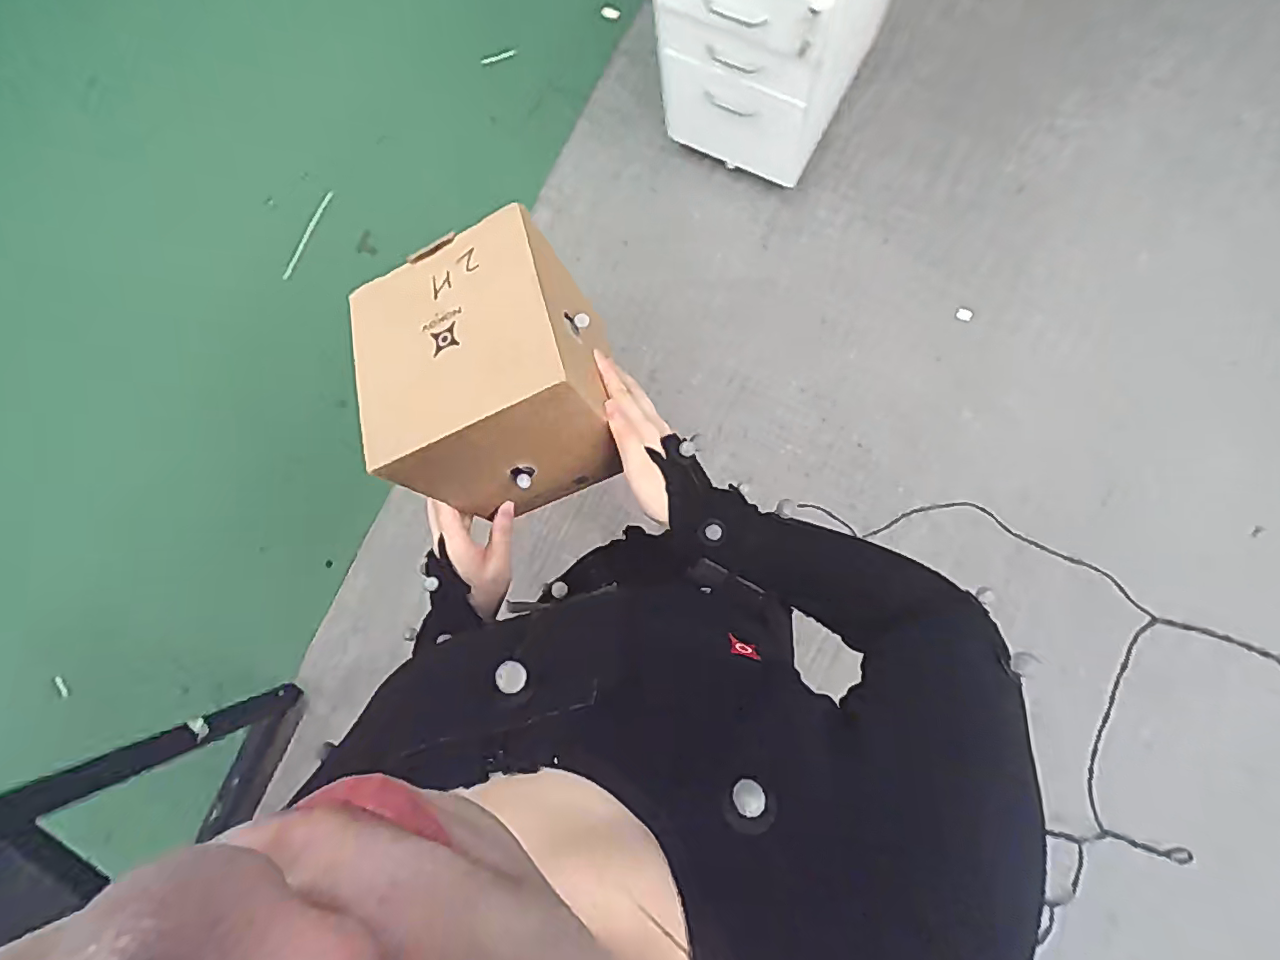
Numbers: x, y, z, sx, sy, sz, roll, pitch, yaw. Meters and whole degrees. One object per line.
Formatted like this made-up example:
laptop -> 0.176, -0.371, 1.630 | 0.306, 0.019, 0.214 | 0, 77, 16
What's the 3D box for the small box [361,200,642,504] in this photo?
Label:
small box -> -0.112, -0.090, 0.475 | 0.168, 0.176, 0.179 | -21, 67, 11
